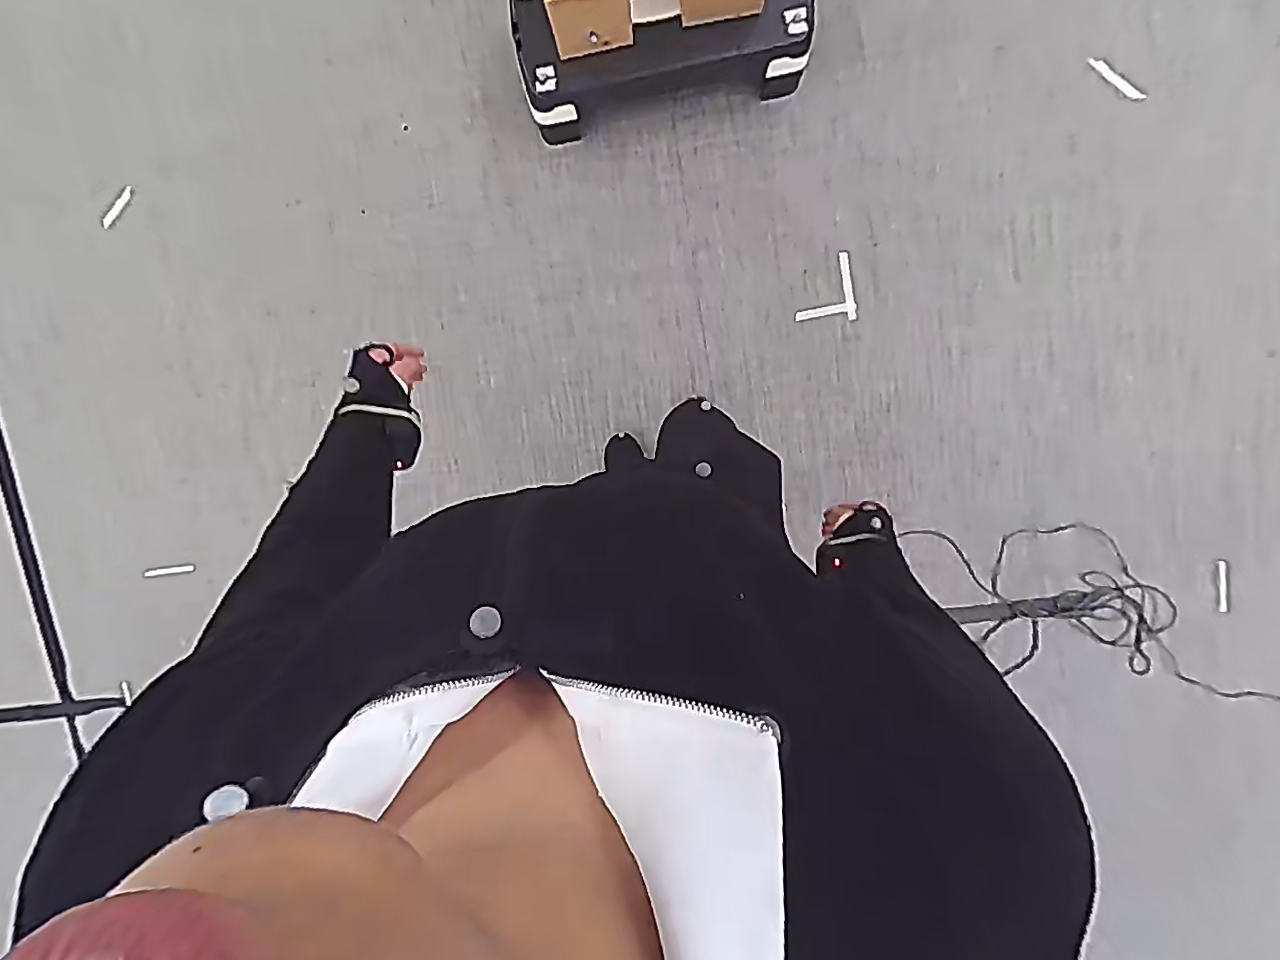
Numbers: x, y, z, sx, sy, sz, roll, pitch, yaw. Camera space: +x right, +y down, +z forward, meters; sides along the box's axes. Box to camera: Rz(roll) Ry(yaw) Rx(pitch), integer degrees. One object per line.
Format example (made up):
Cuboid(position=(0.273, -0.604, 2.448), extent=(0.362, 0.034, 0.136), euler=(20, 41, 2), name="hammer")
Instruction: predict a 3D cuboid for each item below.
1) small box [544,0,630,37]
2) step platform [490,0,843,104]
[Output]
Cuboid(position=(-0.115, -1.017, 1.105), extent=(0.168, 0.176, 0.179), euler=(-10, 96, 4), name="small box")
Cuboid(position=(0.053, -0.994, 1.065), extent=(0.684, 0.204, 0.286), euler=(-10, 95, 3), name="step platform")
